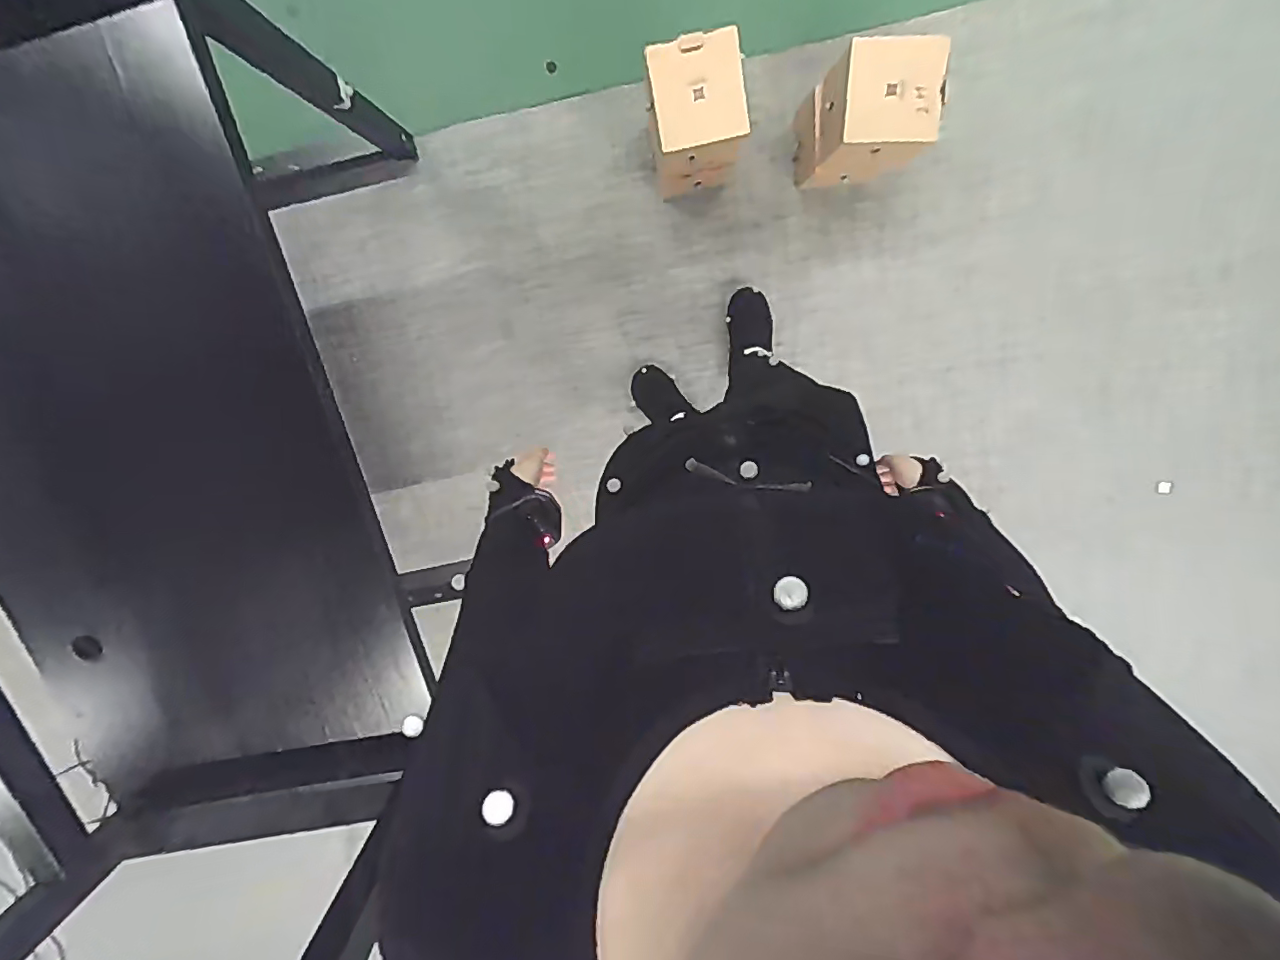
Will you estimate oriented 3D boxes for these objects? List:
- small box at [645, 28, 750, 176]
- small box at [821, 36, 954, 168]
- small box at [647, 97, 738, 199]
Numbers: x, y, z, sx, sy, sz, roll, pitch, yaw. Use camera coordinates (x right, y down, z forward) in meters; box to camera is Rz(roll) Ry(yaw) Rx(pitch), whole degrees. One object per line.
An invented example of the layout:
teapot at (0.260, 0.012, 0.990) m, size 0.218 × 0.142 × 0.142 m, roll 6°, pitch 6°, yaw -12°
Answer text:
small box at (0.109, -0.709, 1.043) m, size 0.168 × 0.176 × 0.179 m, roll -11°, pitch 104°, yaw 5°
small box at (0.458, -0.709, 1.032) m, size 0.179 × 0.176 × 0.168 m, roll 0°, pitch 106°, yaw 1°
small box at (0.115, -0.745, 1.202) m, size 0.168 × 0.176 × 0.179 m, roll -12°, pitch 104°, yaw 5°
